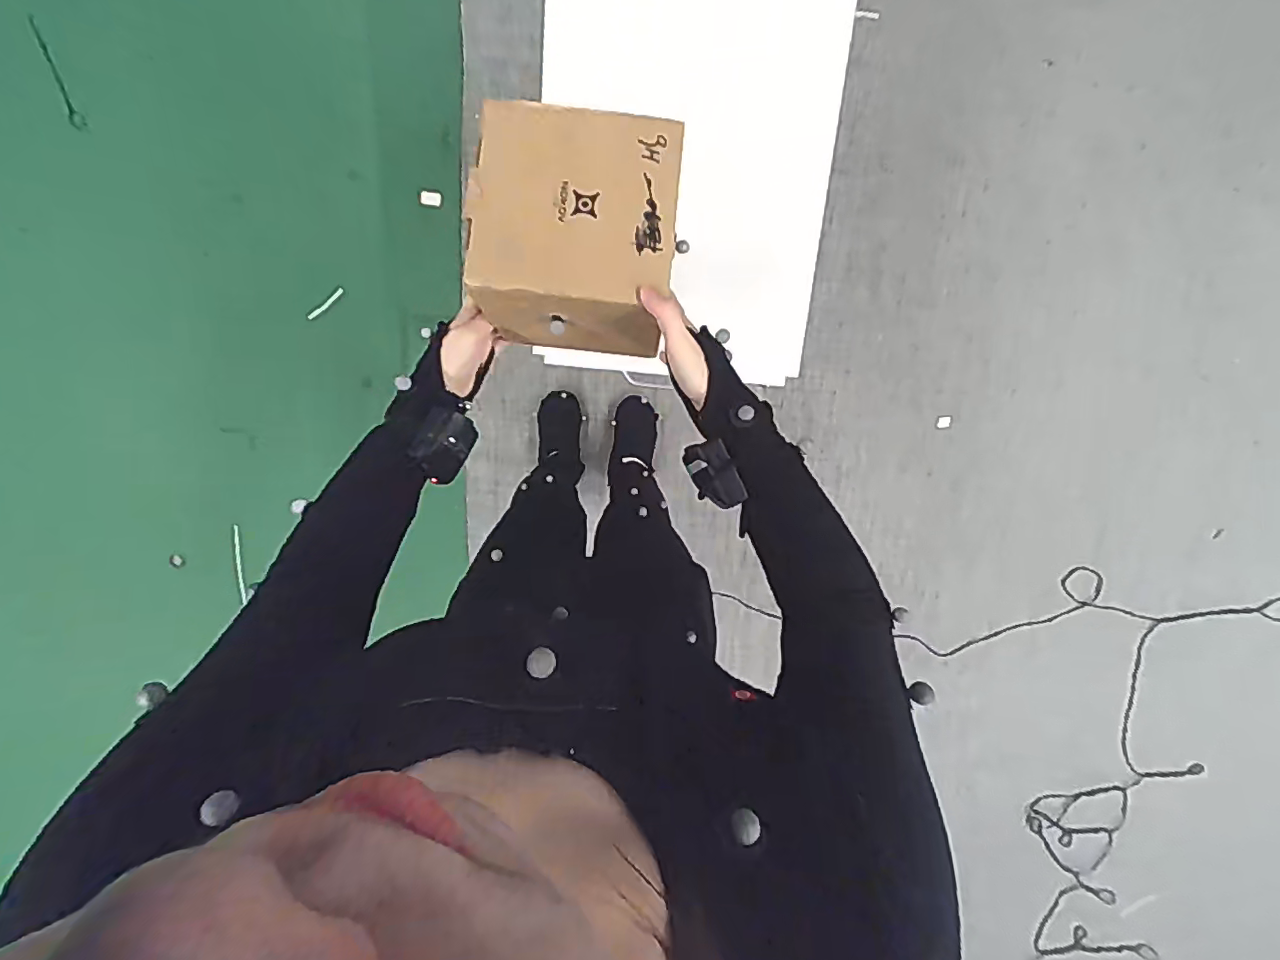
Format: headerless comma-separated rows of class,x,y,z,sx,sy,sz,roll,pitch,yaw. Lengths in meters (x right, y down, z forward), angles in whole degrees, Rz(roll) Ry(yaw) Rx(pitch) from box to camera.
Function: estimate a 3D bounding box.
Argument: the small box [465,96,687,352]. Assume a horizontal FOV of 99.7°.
small box,-0.056,-0.238,0.546,0.179,0.176,0.168,7,86,-2
